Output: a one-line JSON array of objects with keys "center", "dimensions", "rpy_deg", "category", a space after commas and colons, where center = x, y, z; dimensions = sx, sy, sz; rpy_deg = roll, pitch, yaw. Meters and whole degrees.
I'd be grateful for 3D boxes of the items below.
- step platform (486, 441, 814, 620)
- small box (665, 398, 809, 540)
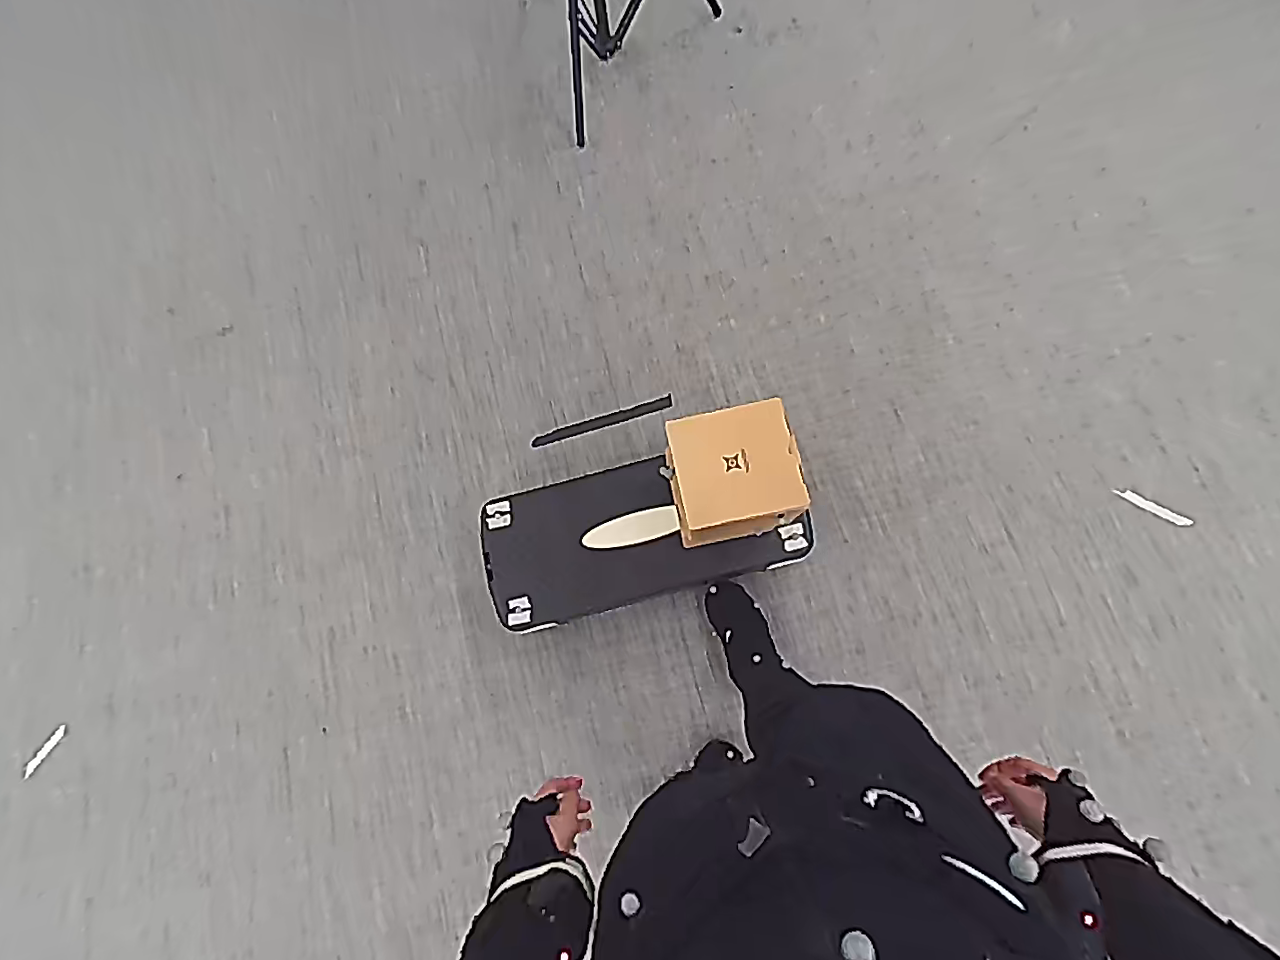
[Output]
[{"center": [0.019, 0.086, 1.180], "dimensions": [0.684, 0.204, 0.286], "rpy_deg": [-16, 76, 2], "category": "step platform"}, {"center": [0.143, -0.007, 0.845], "dimensions": [0.179, 0.176, 0.168], "rpy_deg": [-12, 77, 1], "category": "small box"}]
